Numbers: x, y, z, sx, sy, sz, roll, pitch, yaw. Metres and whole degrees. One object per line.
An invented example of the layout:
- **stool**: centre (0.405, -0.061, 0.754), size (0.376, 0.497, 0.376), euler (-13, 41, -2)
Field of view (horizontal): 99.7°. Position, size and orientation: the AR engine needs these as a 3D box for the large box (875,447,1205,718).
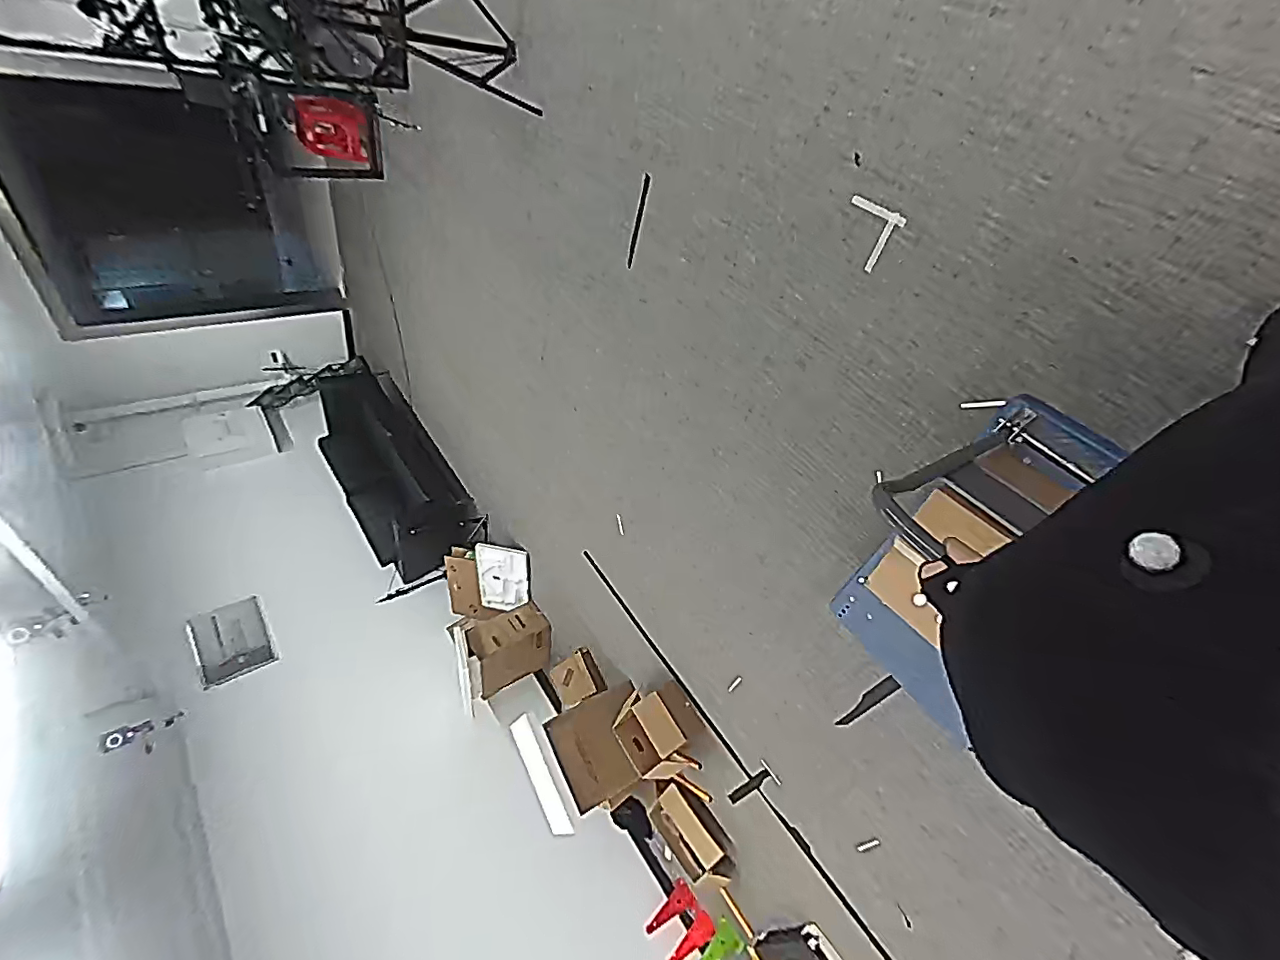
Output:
- **large box**: centre (0.806, 0.193, 1.133), size (0.408, 0.320, 0.320), euler (47, 139, 32)
